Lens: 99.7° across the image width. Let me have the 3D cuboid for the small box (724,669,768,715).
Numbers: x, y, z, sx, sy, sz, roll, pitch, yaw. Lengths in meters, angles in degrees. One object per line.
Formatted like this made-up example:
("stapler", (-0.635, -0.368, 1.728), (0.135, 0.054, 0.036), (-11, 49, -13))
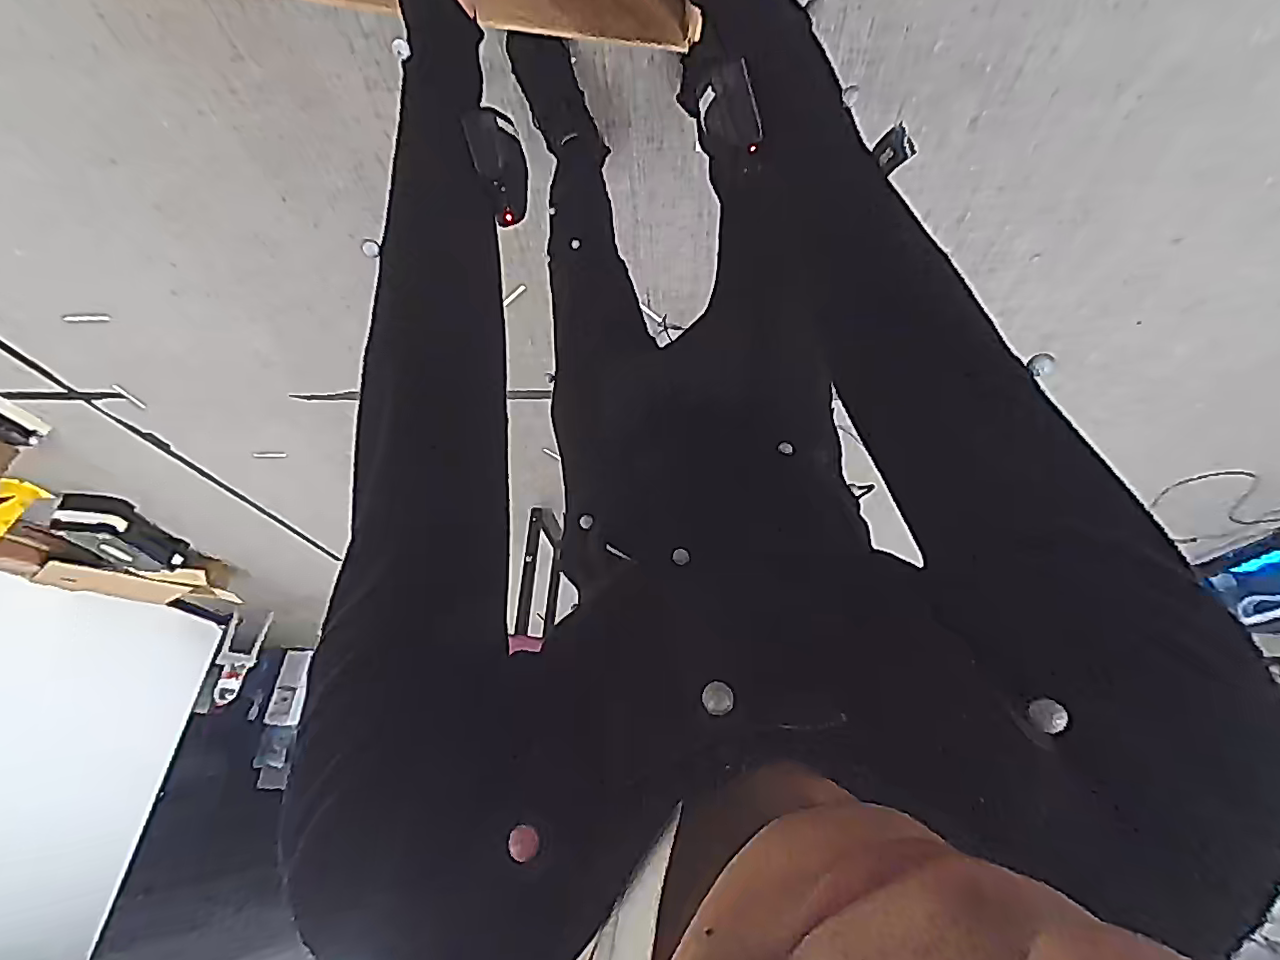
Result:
("small box", (0.468, 0.943, 2.409), (0.179, 0.176, 0.168), (0, 151, 5))
